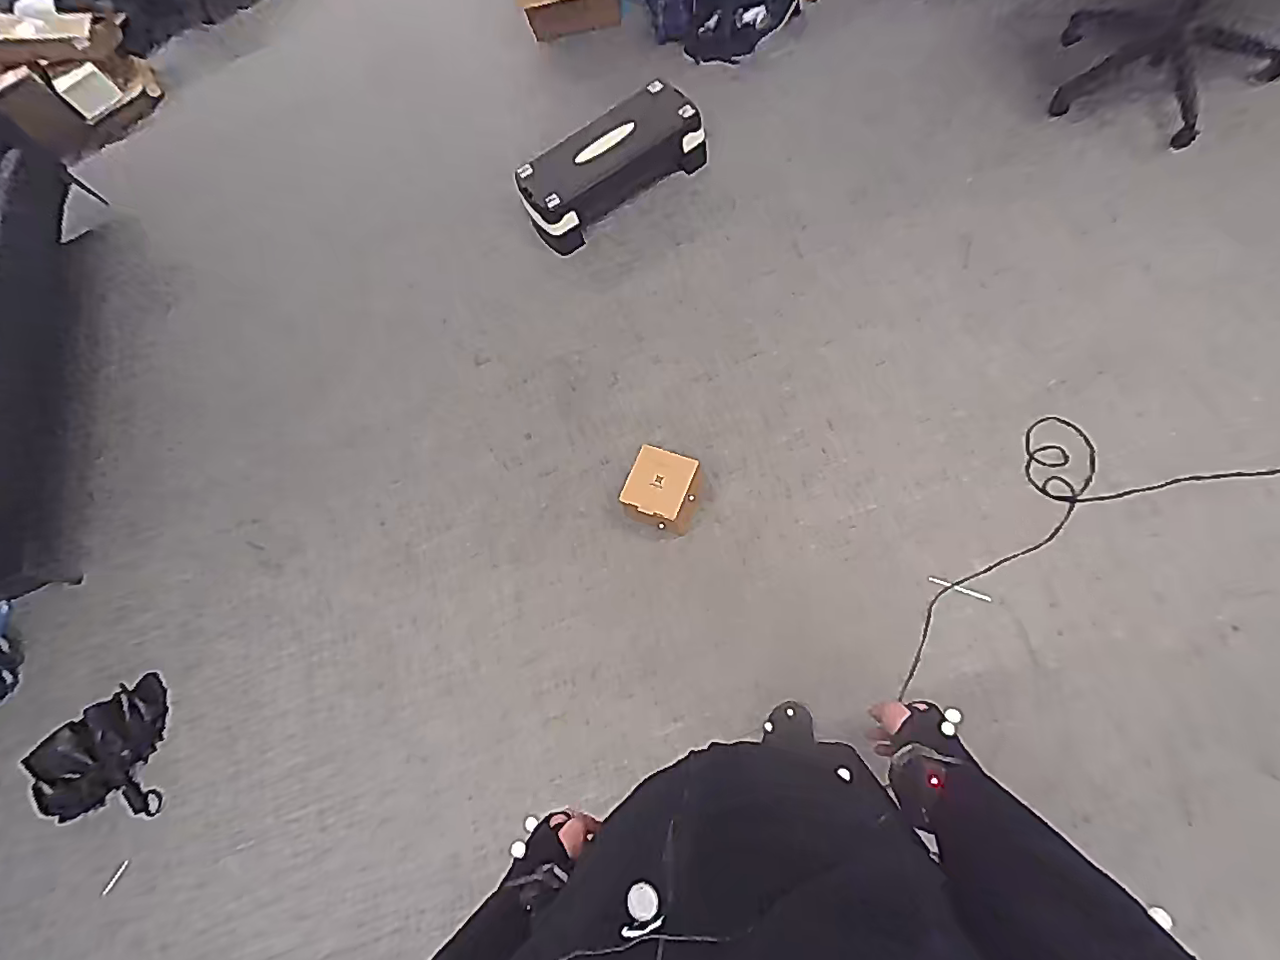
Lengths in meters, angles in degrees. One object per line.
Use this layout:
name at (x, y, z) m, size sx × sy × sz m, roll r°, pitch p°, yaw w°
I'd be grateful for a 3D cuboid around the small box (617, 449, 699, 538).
small box at (0.058, 0.044, 1.511) m, size 0.168 × 0.176 × 0.179 m, roll 18°, pitch 73°, yaw 18°
